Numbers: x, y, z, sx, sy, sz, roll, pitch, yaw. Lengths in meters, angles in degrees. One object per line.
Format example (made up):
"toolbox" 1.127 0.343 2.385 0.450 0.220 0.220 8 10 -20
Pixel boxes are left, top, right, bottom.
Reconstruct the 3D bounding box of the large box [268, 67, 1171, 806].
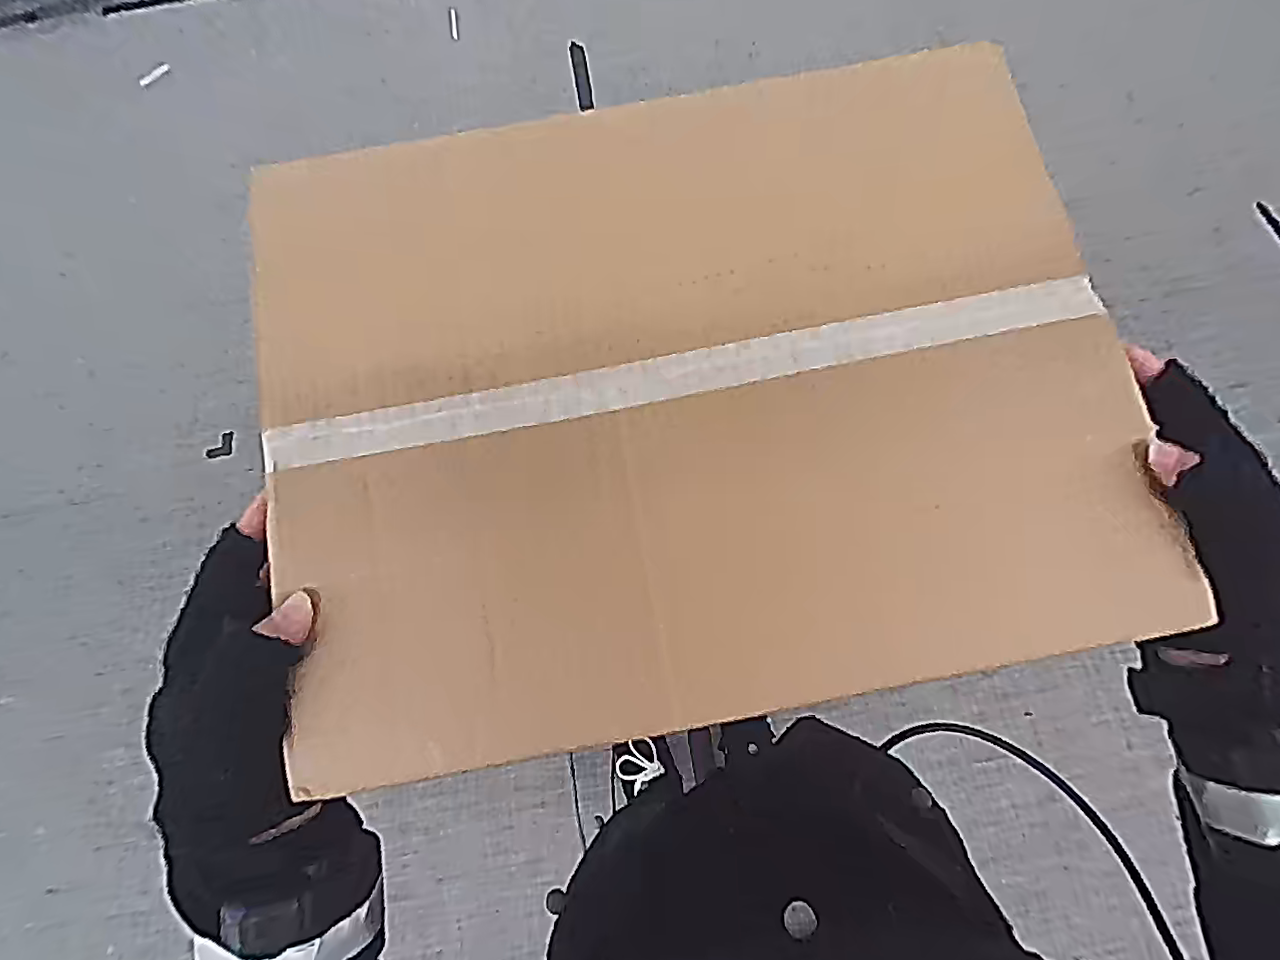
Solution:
"large box" 0.027 -0.017 0.415 0.408 0.320 0.320 -11 79 -1
